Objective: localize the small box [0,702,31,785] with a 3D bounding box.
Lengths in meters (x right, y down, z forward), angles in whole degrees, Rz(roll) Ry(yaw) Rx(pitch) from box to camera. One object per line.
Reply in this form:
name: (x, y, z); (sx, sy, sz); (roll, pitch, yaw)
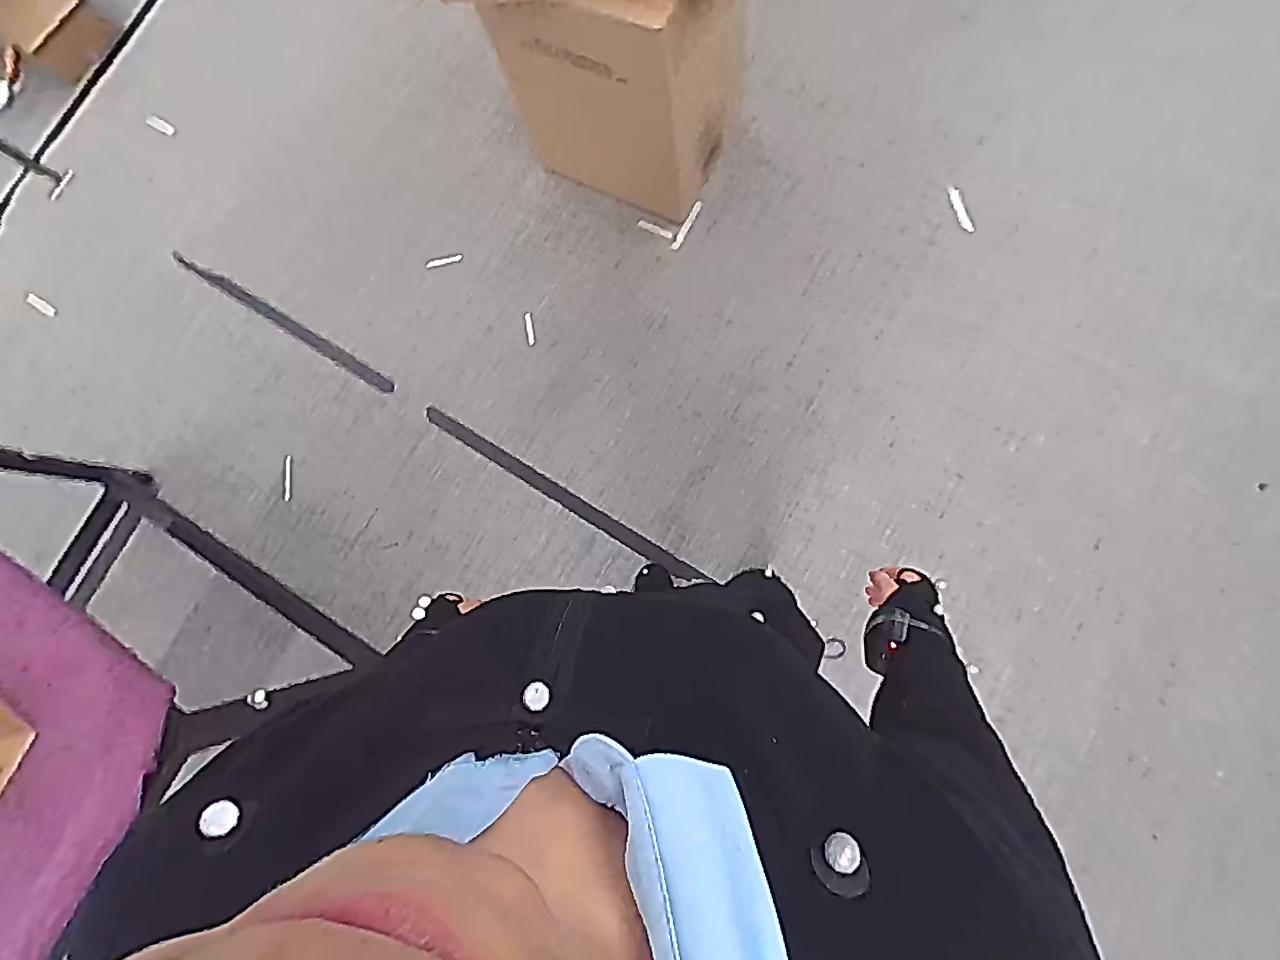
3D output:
small box: (-1.094, 0.425, 0.805); (0.179, 0.176, 0.168); (26, 85, 12)
